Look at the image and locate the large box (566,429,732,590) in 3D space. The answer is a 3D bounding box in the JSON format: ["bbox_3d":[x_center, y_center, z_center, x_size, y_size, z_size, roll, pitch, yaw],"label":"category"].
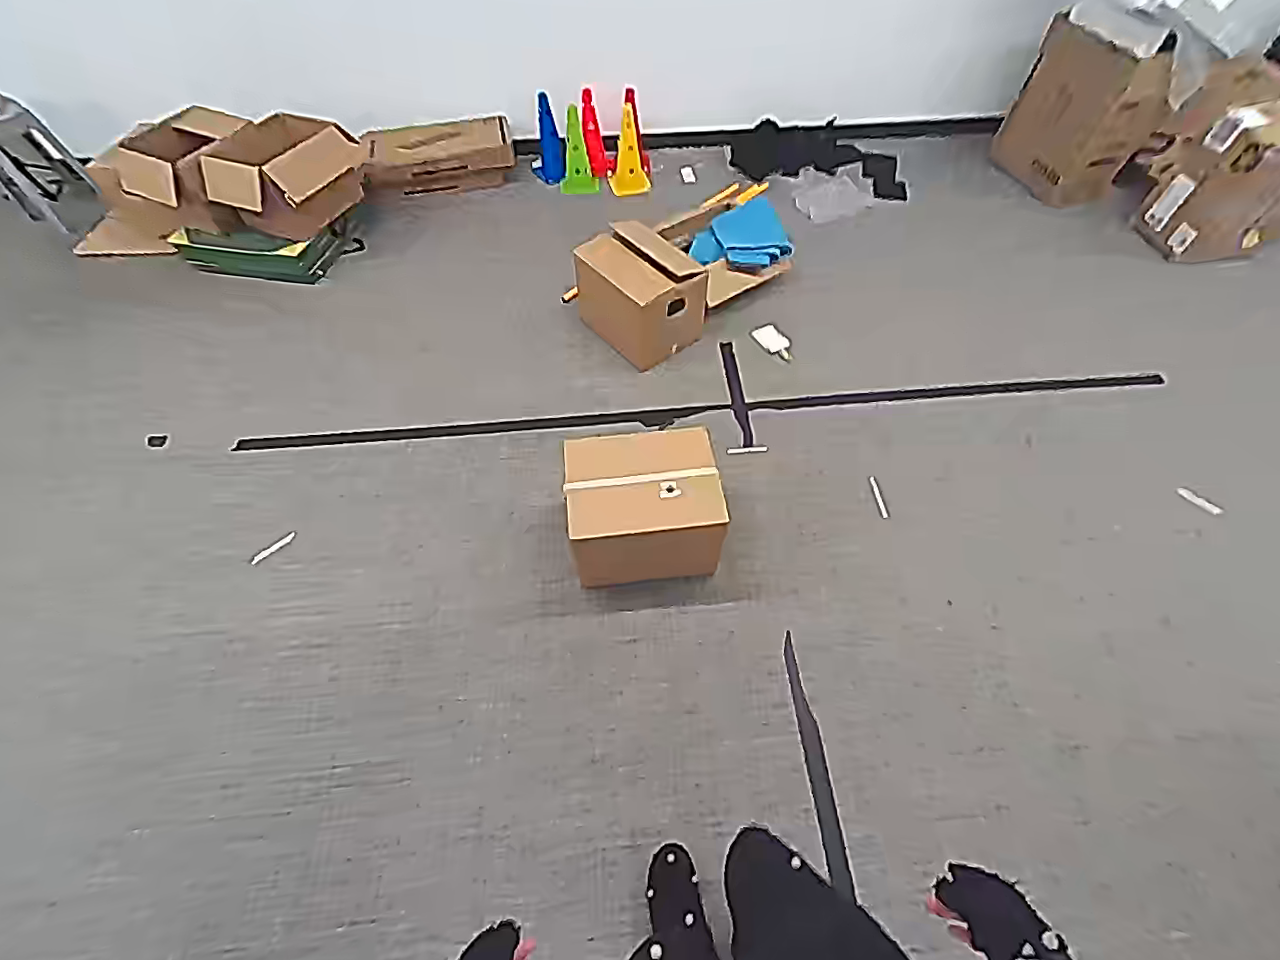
[{"bbox_3d":[0.014,0.089,1.533,0.408,0.320,0.320,-6,57,-4],"label":"large box"}]
